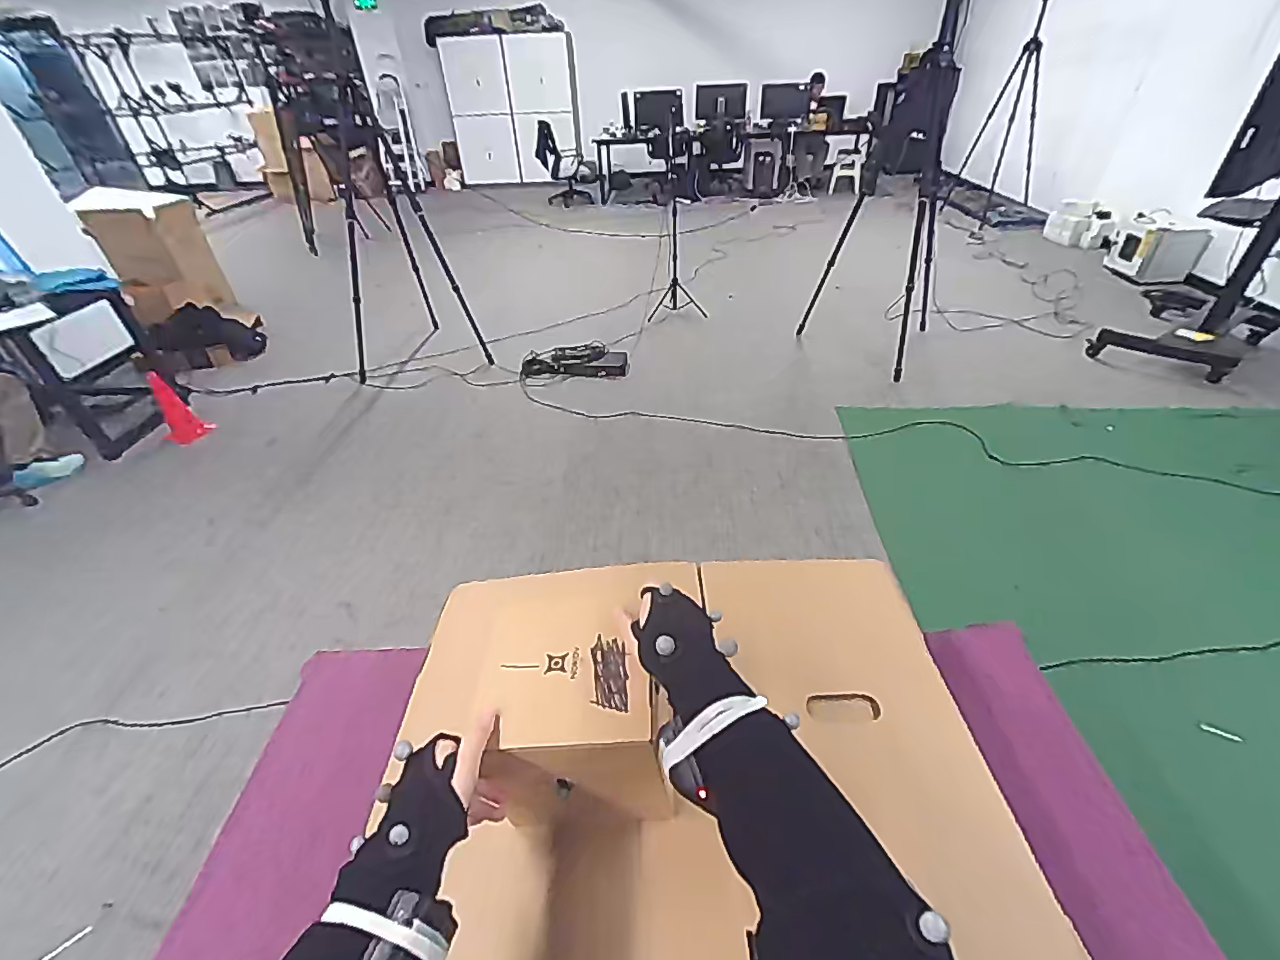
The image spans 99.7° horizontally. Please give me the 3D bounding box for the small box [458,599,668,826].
[{"bbox_3d":[-0.064,0.251,0.583,0.179,0.176,0.168,-7,38,7],"label":"small box"}]
